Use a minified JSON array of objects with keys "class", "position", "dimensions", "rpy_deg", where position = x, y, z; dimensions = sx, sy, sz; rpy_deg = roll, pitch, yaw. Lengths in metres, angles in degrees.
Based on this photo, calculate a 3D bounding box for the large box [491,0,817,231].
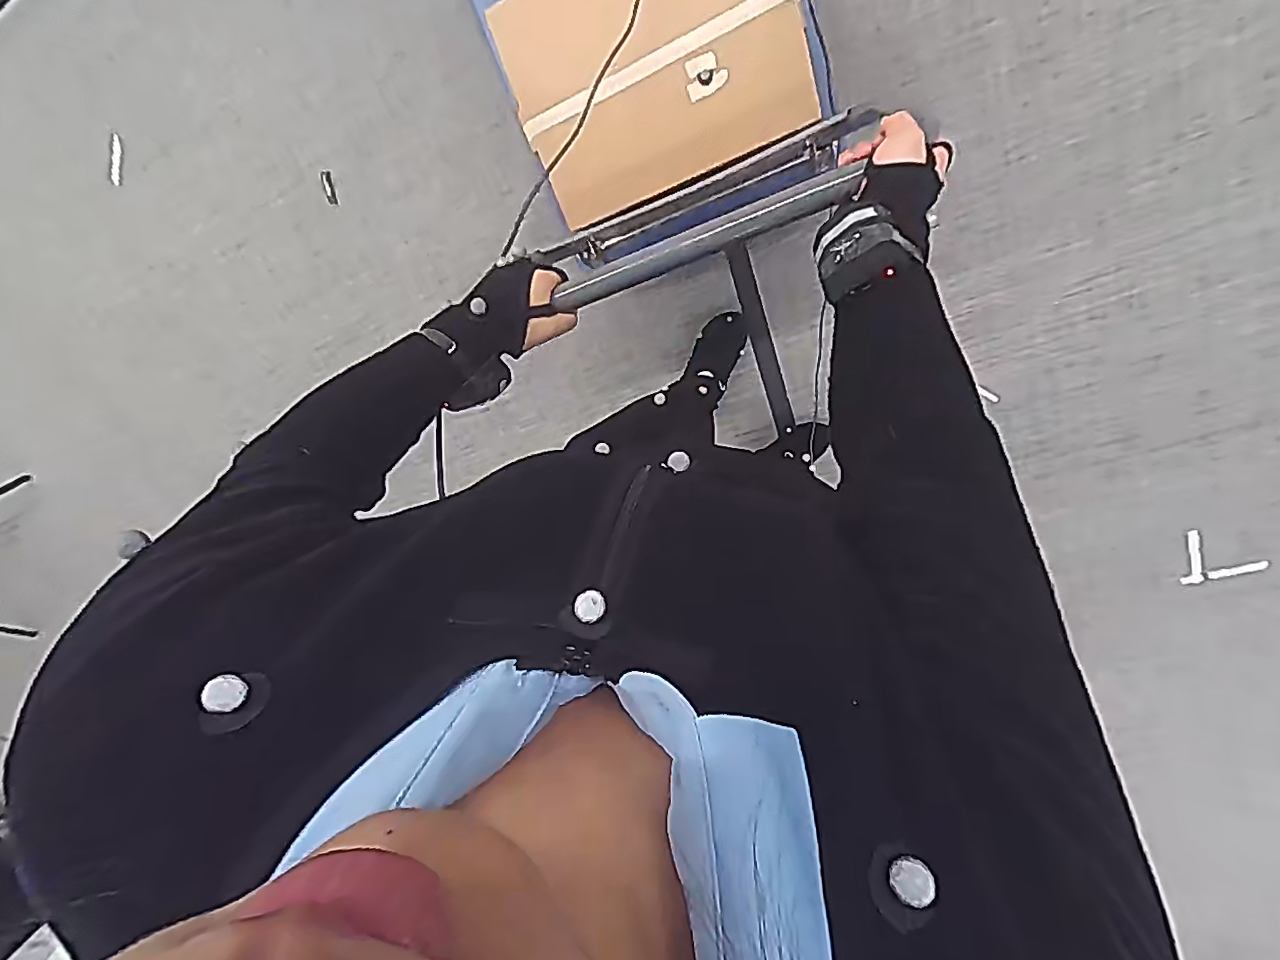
[{"class":"large box","position":[0.039,-0.654,0.908],"dimensions":[0.408,0.320,0.320],"rpy_deg":[-17,112,17]}]
